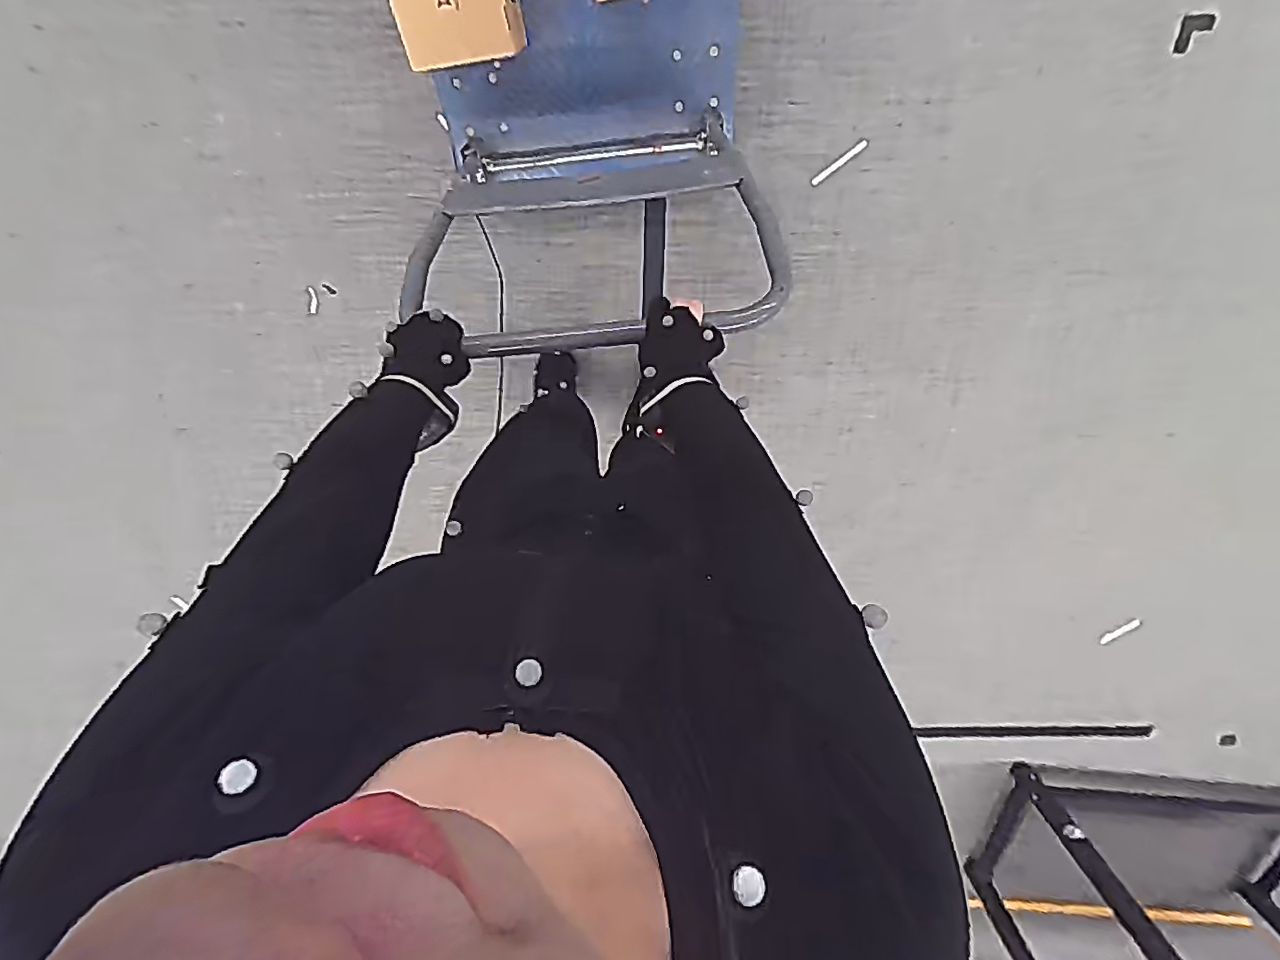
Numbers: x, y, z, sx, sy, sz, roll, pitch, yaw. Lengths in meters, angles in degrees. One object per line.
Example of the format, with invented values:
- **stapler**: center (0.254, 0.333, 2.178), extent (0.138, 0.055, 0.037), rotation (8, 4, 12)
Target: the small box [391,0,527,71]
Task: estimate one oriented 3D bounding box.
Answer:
- **small box**: center (-0.298, -0.792, 0.887), extent (0.179, 0.176, 0.168), rotation (-8, 132, 3)
